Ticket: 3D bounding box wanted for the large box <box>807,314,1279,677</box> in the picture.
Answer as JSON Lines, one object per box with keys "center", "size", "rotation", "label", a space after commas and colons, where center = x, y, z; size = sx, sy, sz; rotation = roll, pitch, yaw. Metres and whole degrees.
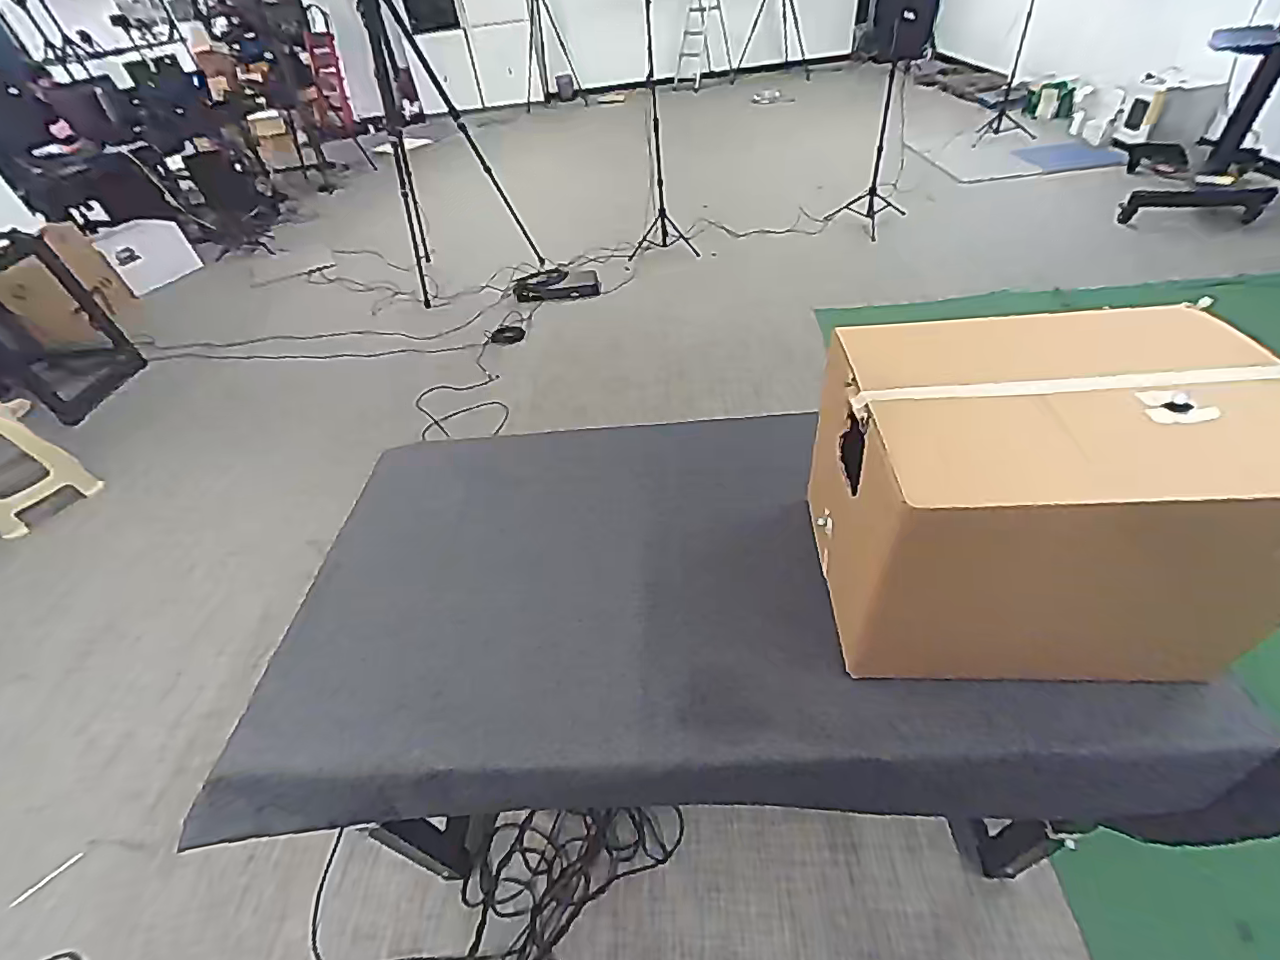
{"center": [0.447, 0.022, 0.649], "size": [0.408, 0.320, 0.320], "rotation": [-1, 44, 6], "label": "large box"}
